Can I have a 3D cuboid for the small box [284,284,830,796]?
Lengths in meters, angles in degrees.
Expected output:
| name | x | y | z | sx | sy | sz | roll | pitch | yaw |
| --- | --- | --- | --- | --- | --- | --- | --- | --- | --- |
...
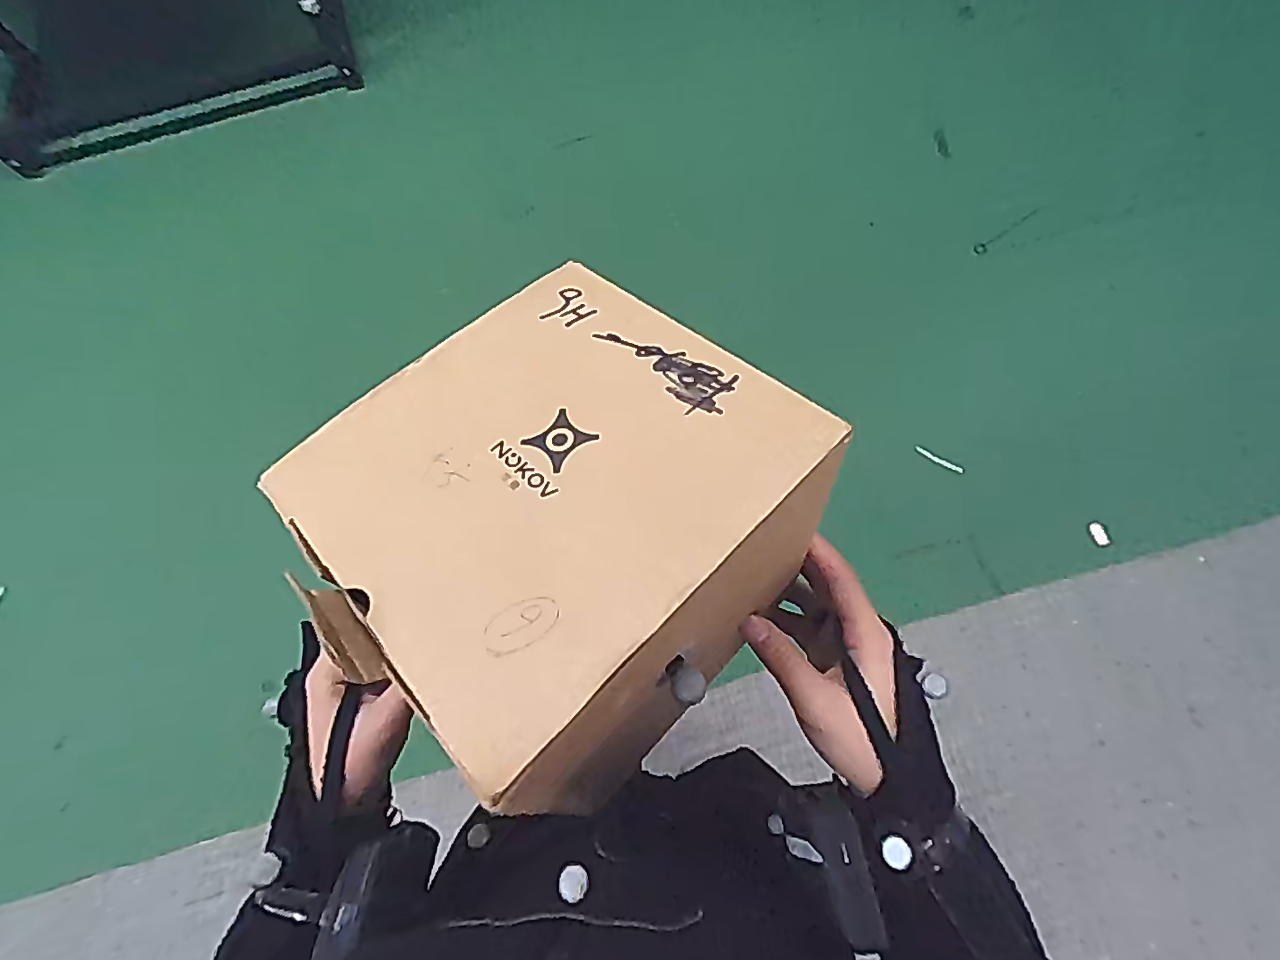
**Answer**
| name | x | y | z | sx | sy | sz | roll | pitch | yaw |
| --- | --- | --- | --- | --- | --- | --- | --- | --- | --- |
| small box | -0.029 | 0.039 | 0.290 | 0.168 | 0.176 | 0.179 | 38 | 70 | 25 |
